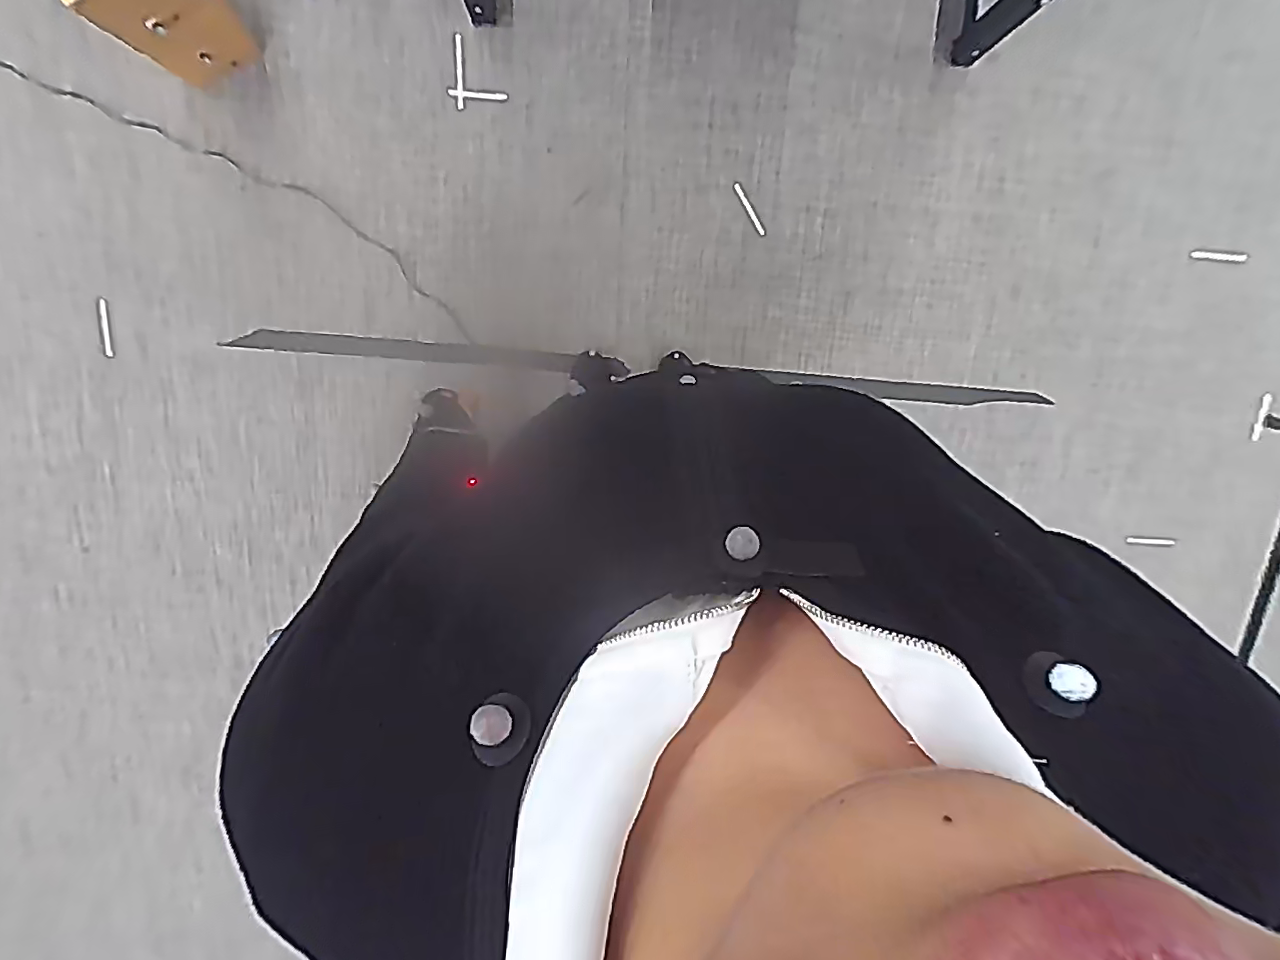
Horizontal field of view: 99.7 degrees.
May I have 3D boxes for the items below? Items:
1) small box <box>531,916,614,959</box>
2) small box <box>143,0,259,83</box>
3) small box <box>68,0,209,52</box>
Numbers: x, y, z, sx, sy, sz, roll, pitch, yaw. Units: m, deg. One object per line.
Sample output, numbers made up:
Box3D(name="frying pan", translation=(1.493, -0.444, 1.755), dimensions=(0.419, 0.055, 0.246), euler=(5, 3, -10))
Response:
Box3D(name="small box", translation=(-0.148, 1.107, 1.185), dimensions=(0.179, 0.176, 0.168), euler=(-5, 100, -1))
Box3D(name="small box", translation=(-0.967, -0.988, 1.143), dimensions=(0.168, 0.176, 0.179), euler=(-29, 102, 2))
Box3D(name="small box", translation=(-0.961, -0.948, 0.985), dimensions=(0.168, 0.176, 0.179), euler=(-33, 104, 6))
